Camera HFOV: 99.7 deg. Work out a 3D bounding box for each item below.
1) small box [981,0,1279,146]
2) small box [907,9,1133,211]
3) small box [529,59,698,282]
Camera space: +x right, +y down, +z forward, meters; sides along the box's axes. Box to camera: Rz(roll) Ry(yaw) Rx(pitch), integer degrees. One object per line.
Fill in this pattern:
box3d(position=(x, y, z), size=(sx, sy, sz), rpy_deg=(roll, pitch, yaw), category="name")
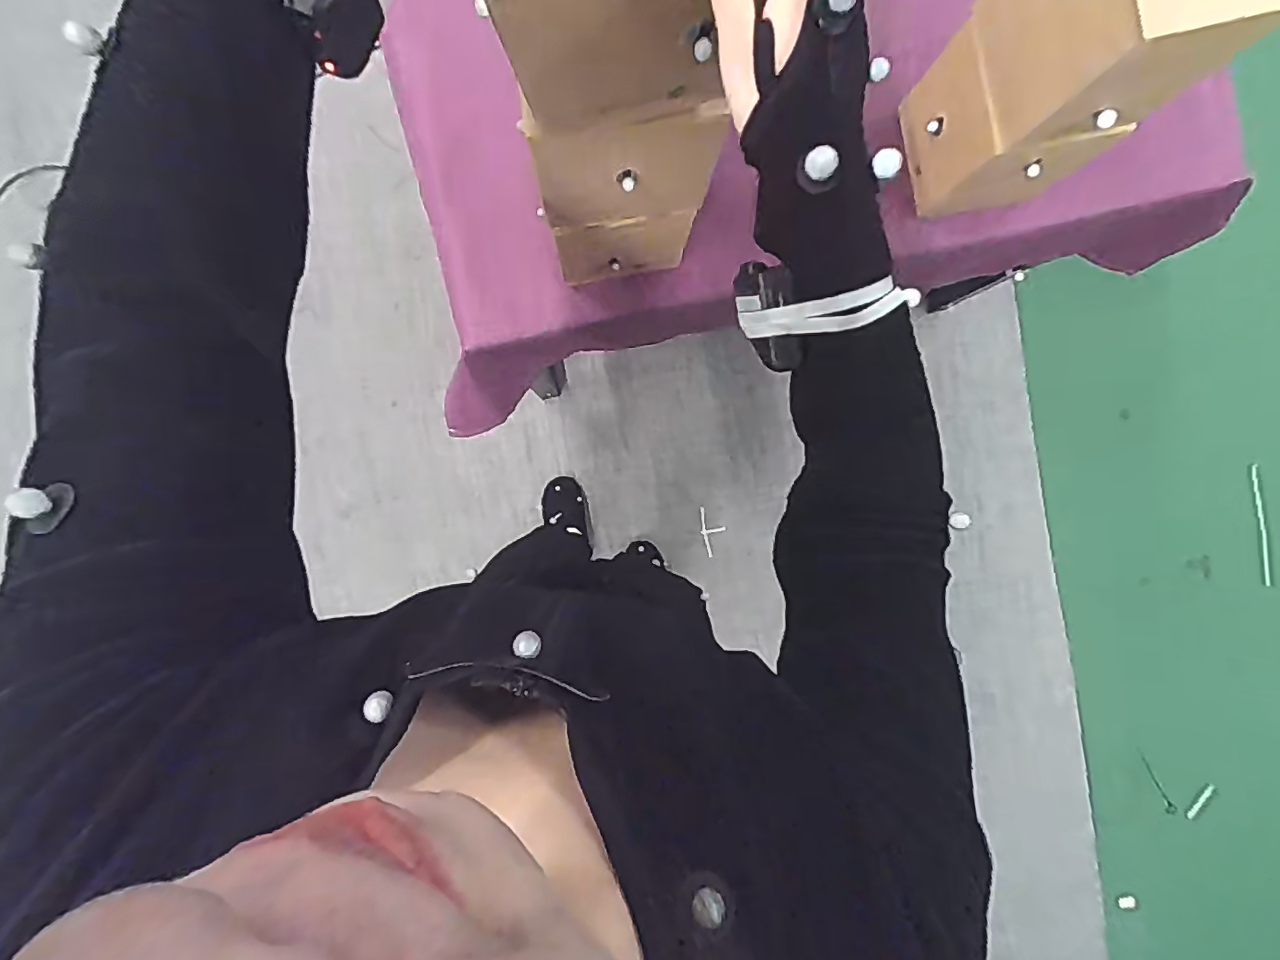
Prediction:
box3d(position=(0.483, -0.483, 0.544), size=(0.168, 0.176, 0.179), rpy_deg=(-14, 93, -2), category="small box")
box3d(position=(0.476, -0.479, 0.708), size=(0.179, 0.176, 0.168), rpy_deg=(-12, 93, -3), category="small box")
box3d(position=(-0.035, -0.375, 0.683), size=(0.168, 0.176, 0.179), rpy_deg=(-12, 93, -3), category="small box")
